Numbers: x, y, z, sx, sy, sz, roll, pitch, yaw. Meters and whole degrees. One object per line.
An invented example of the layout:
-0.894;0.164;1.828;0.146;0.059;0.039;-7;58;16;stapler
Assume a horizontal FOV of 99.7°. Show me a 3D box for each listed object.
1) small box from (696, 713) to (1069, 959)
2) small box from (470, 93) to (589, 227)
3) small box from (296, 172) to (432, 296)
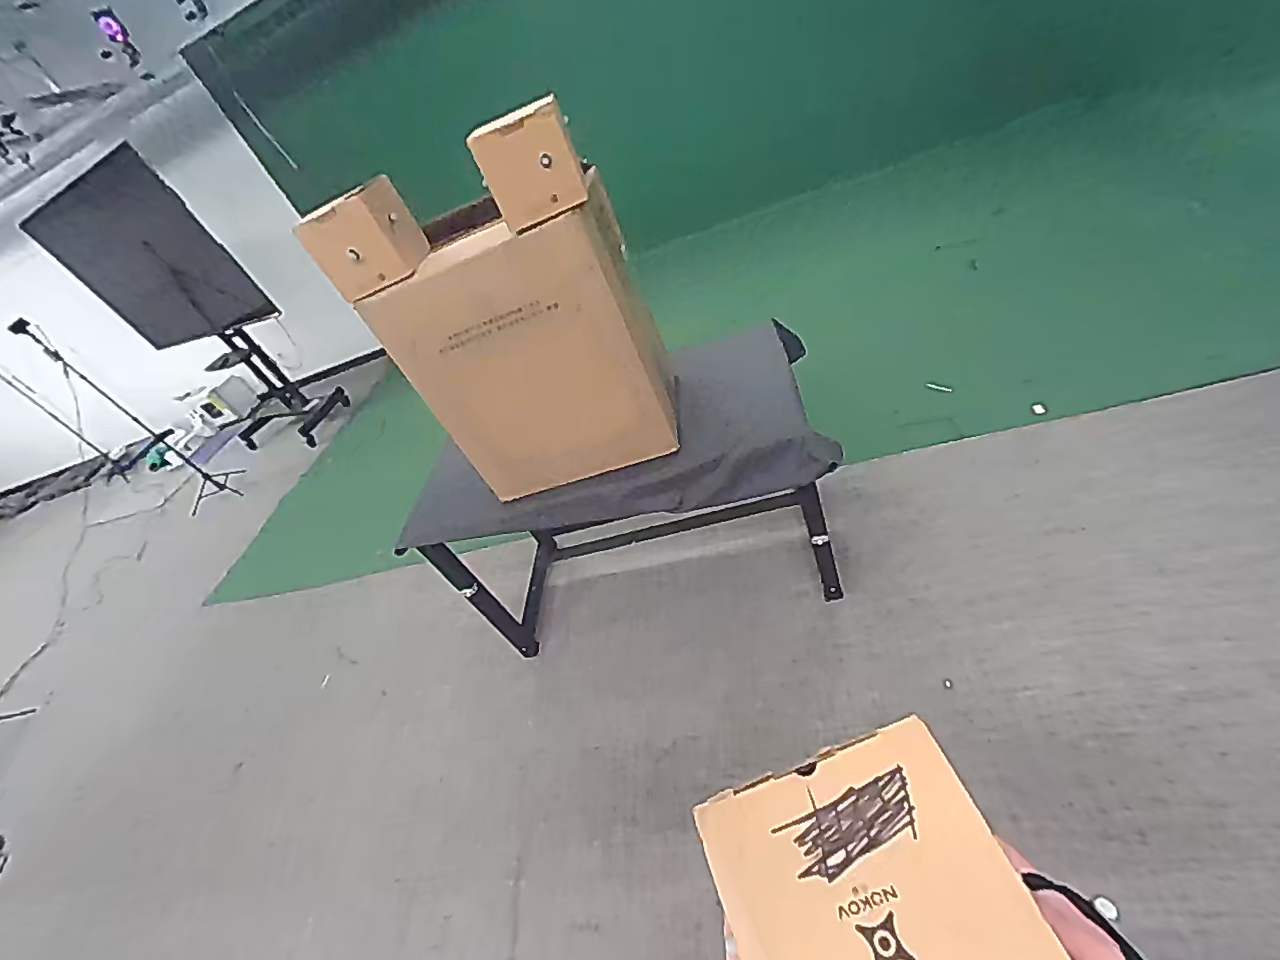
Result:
0.156;0.292;0.369;0.168;0.176;0.179;-25;52;3;small box
-0.204;-0.615;1.049;0.168;0.176;0.179;-18;38;8;small box
-0.575;-0.518;1.155;0.168;0.176;0.179;-19;40;12;small box
